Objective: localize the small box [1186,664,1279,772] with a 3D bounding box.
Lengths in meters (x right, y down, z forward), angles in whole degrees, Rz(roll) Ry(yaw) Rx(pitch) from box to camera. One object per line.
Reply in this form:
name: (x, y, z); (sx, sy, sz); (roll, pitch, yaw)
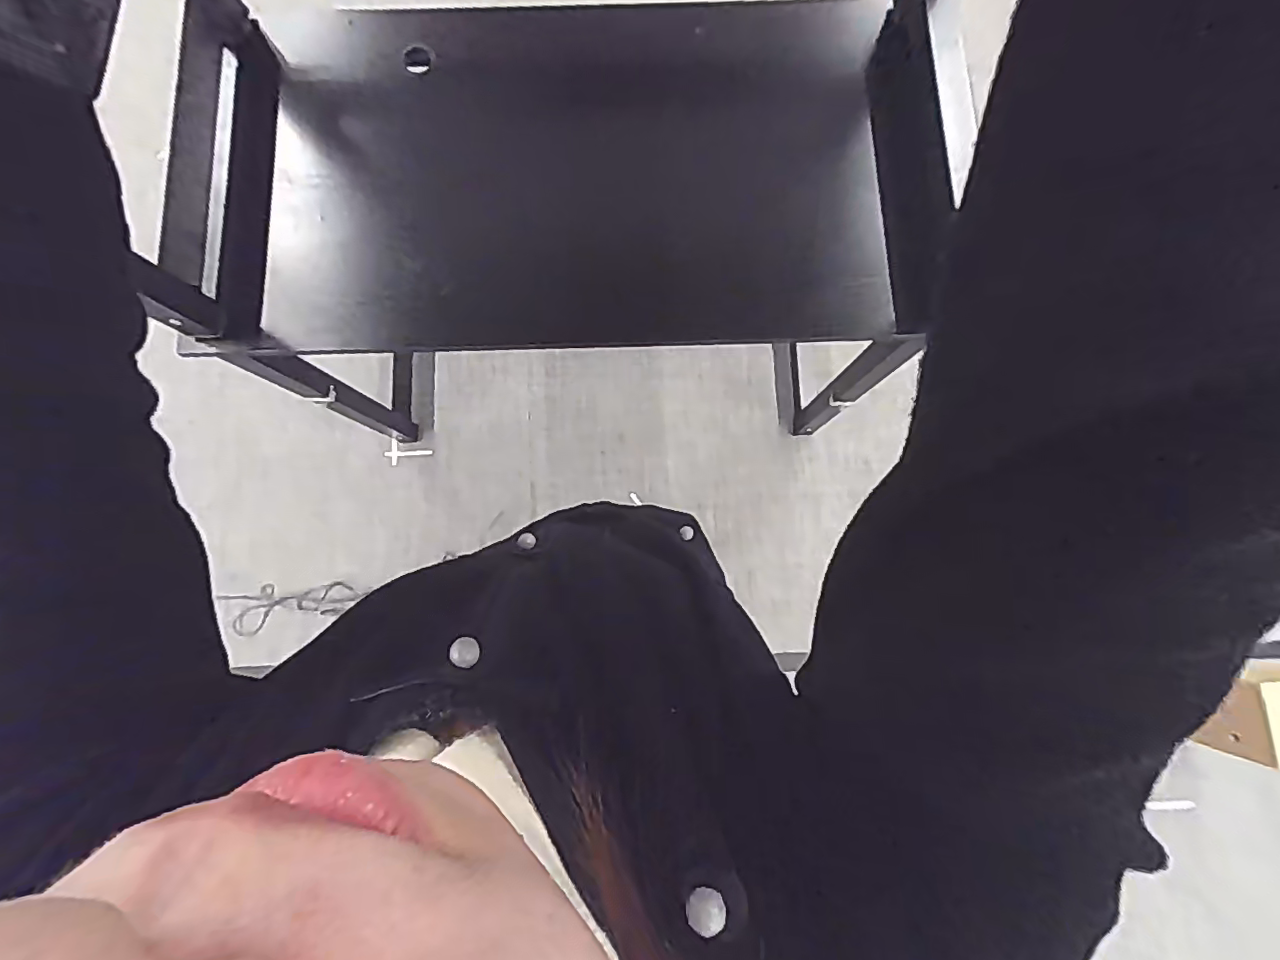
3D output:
small box: (1.381, 0.519, 1.196); (0.168, 0.176, 0.179); (-4, 82, 0)
